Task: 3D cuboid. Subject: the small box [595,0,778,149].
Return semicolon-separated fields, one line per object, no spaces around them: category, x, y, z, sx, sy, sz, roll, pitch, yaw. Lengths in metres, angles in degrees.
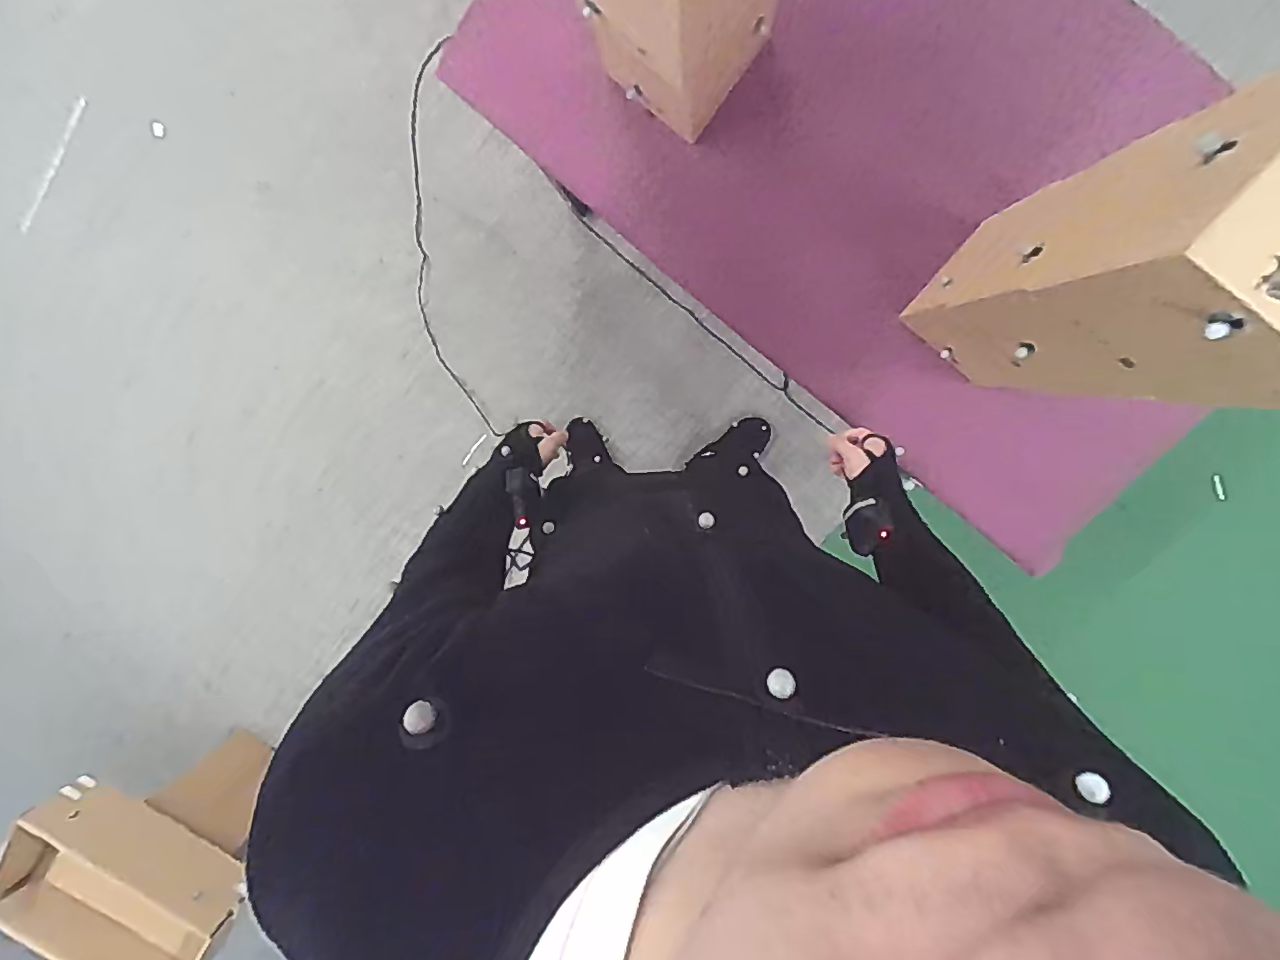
small box;0.058;-0.580;0.693;0.168;0.176;0.179;39;102;-2
